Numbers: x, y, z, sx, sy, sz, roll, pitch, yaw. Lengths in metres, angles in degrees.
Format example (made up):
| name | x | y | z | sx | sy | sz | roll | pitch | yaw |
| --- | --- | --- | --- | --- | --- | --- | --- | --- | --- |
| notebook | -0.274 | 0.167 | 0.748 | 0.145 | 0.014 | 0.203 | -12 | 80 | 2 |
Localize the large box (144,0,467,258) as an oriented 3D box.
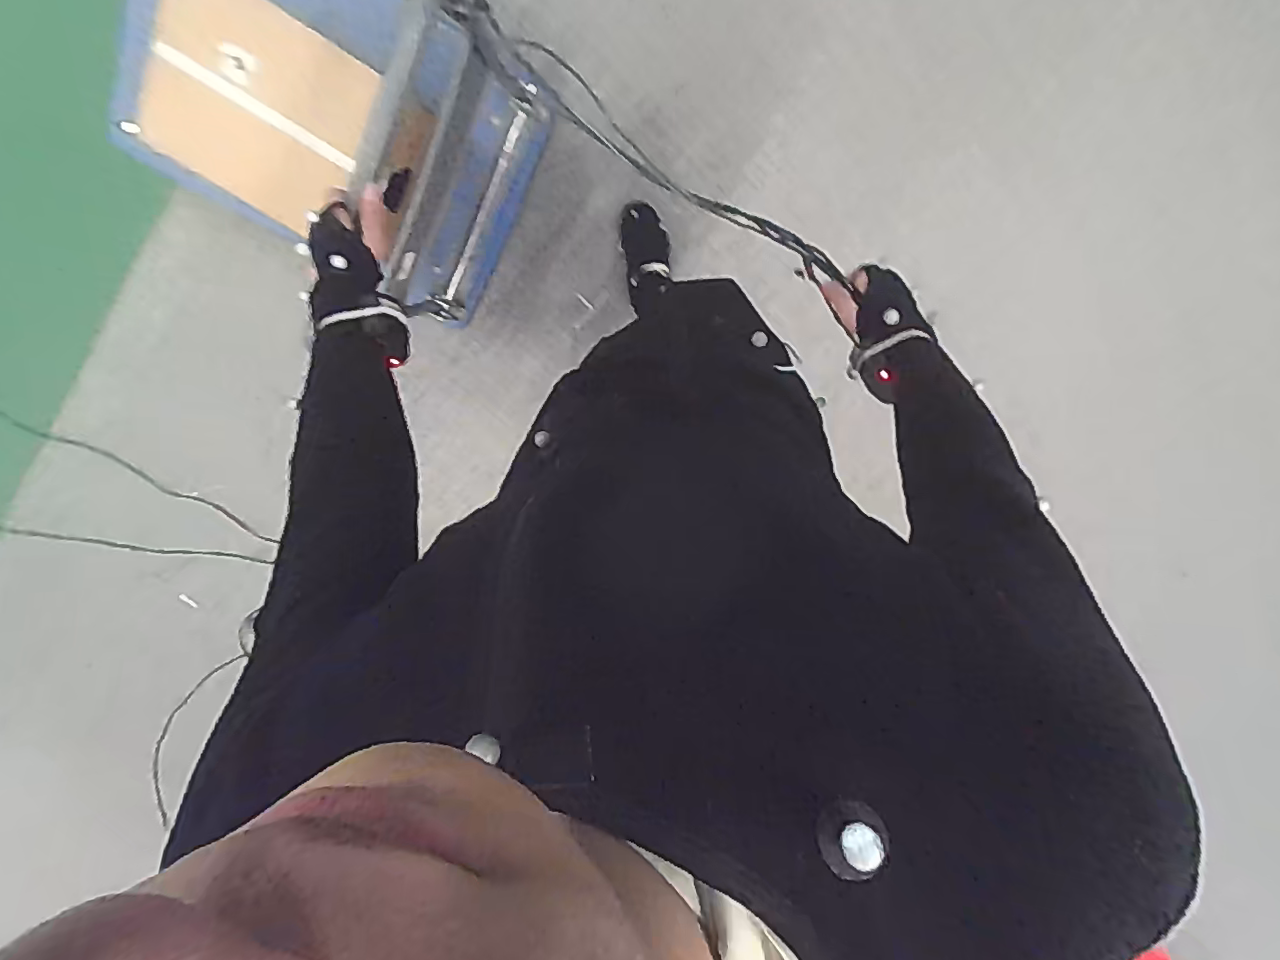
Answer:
| name | x | y | z | sx | sy | sz | roll | pitch | yaw |
| --- | --- | --- | --- | --- | --- | --- | --- | --- | --- |
| large box | -0.625 | -0.685 | 1.072 | 0.408 | 0.320 | 0.320 | 30 | 110 | -9 |
